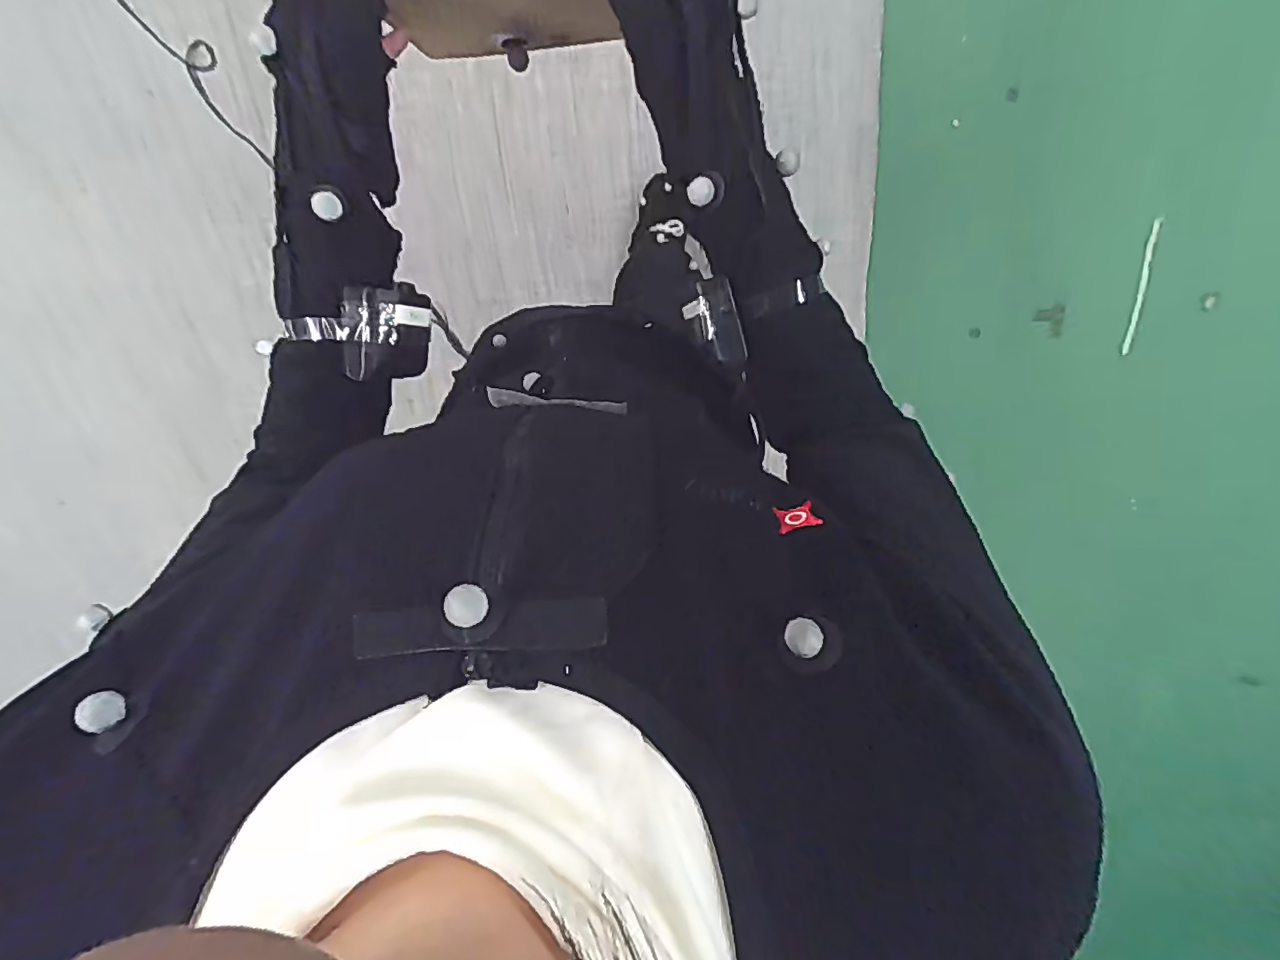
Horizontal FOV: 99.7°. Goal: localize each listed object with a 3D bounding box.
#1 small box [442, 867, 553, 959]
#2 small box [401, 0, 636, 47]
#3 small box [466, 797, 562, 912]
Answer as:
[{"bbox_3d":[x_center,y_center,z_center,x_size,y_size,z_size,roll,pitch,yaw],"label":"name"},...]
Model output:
[{"bbox_3d":[-0.289,0.962,1.139,0.168,0.176,0.179,-10,111,3],"label":"small box"},{"bbox_3d":[-0.090,-0.392,0.317,0.168,0.176,0.179,-6,117,1],"label":"small box"},{"bbox_3d":[-0.291,0.899,1.291,0.168,0.176,0.179,-11,112,2],"label":"small box"}]
